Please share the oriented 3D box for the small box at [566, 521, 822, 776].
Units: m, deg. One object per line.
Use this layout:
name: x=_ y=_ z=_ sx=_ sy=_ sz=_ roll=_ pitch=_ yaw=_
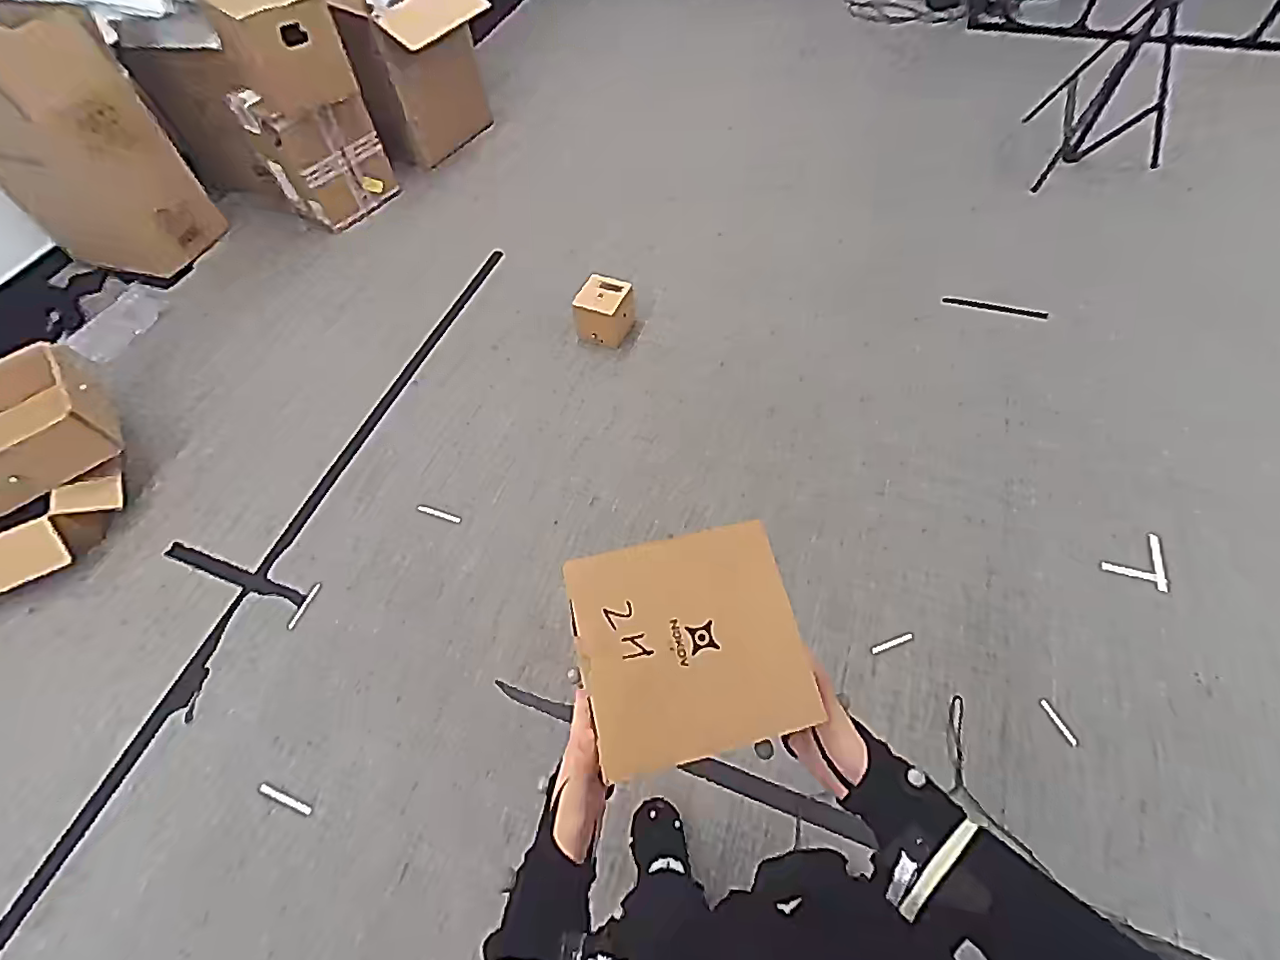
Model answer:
small box: x=0.032 y=0.152 z=0.497 sx=0.179 sy=0.176 sz=0.168 roll=-10 pitch=69 yaw=-8
